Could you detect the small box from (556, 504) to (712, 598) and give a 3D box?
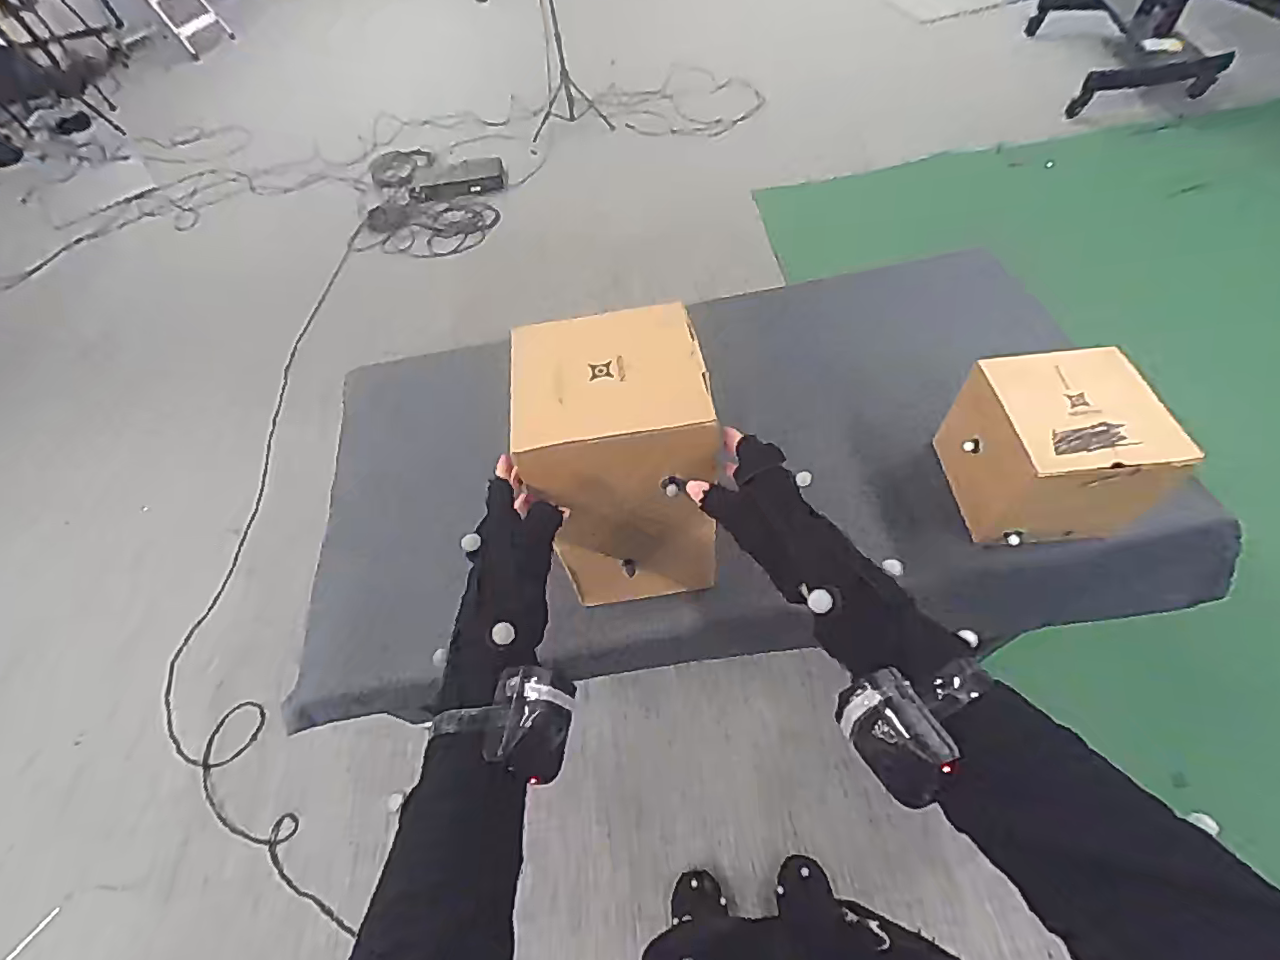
[{"bbox_3d":[-0.006,0.039,0.701,0.179,0.176,0.168,-9,55,1],"label":"small box"}]

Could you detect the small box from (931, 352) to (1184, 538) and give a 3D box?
[{"bbox_3d":[0.503,-0.035,0.689,0.168,0.176,0.179,-4,55,5],"label":"small box"}]

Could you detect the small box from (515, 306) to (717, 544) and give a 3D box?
[{"bbox_3d":[-0.022,-0.051,0.567,0.179,0.176,0.168,-10,53,1],"label":"small box"}]
